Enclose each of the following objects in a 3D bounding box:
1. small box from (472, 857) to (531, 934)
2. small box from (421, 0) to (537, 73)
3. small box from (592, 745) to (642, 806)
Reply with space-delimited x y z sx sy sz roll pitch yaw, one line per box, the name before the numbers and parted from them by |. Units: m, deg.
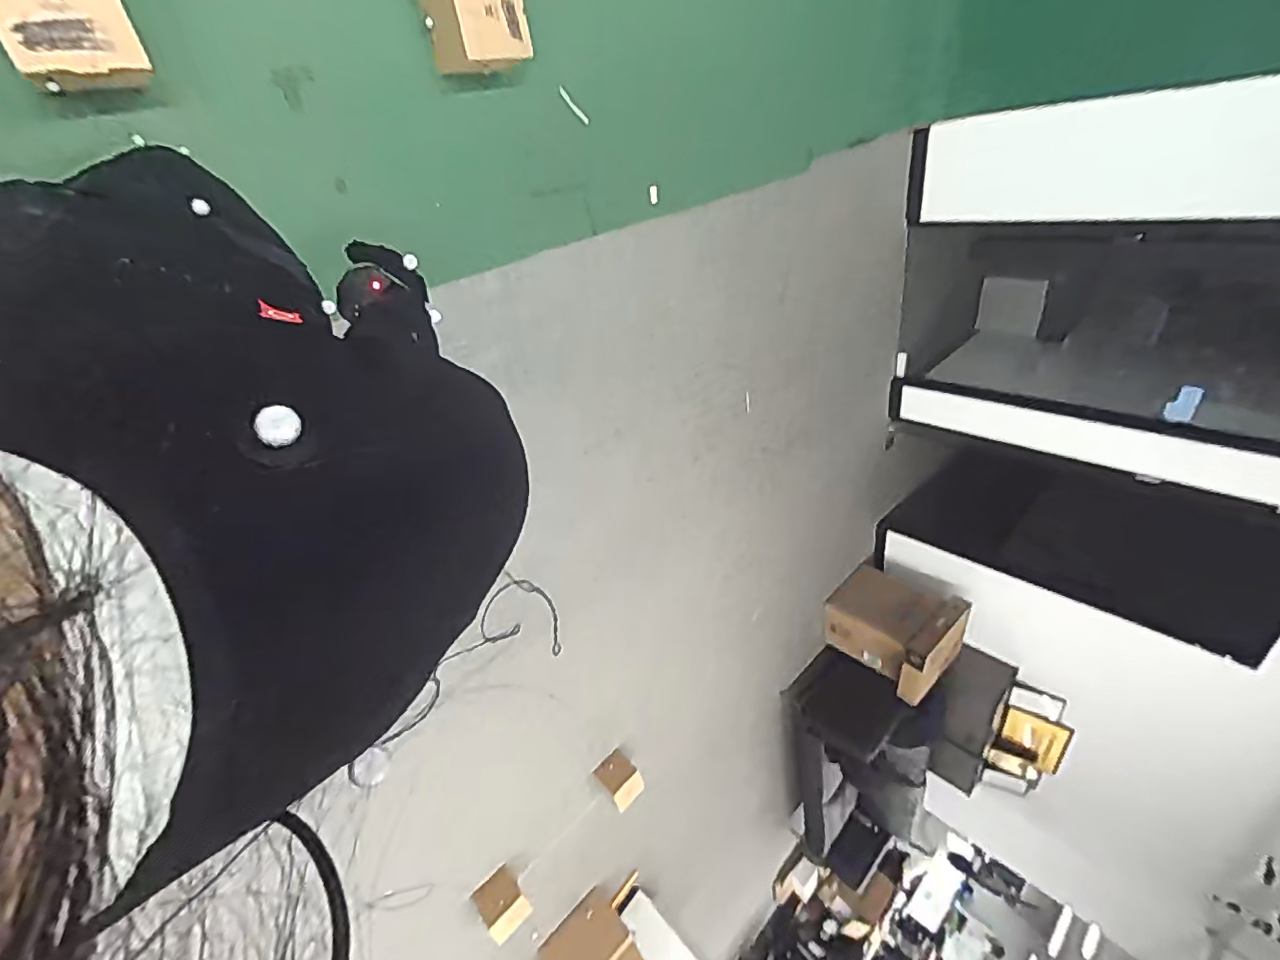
small box | -0.610 1.812 2.361 0.179 0.176 0.168 -34 129 -29
small box | -0.366 -1.042 1.226 0.179 0.176 0.168 -31 128 -30
small box | -0.116 1.463 2.685 0.168 0.176 0.179 -34 130 -29
